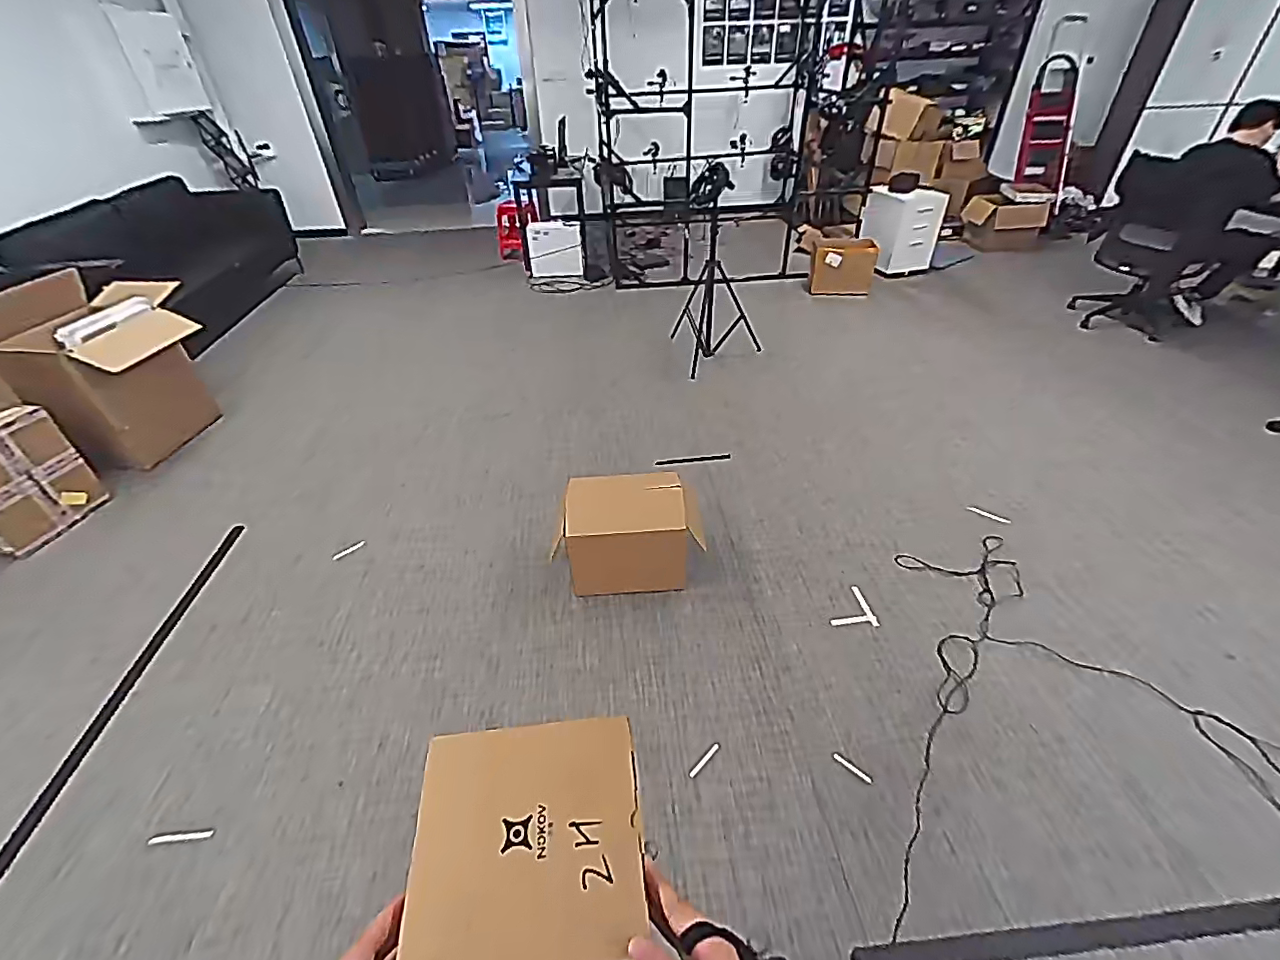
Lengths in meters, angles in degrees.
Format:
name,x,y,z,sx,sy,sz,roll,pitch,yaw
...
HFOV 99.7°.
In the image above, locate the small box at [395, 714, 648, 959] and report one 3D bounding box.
name,x,y,z,sx,sy,sz,roll,pitch,yaw
small box,-0.088,0.330,0.478,0.179,0.176,0.168,-4,46,-5
